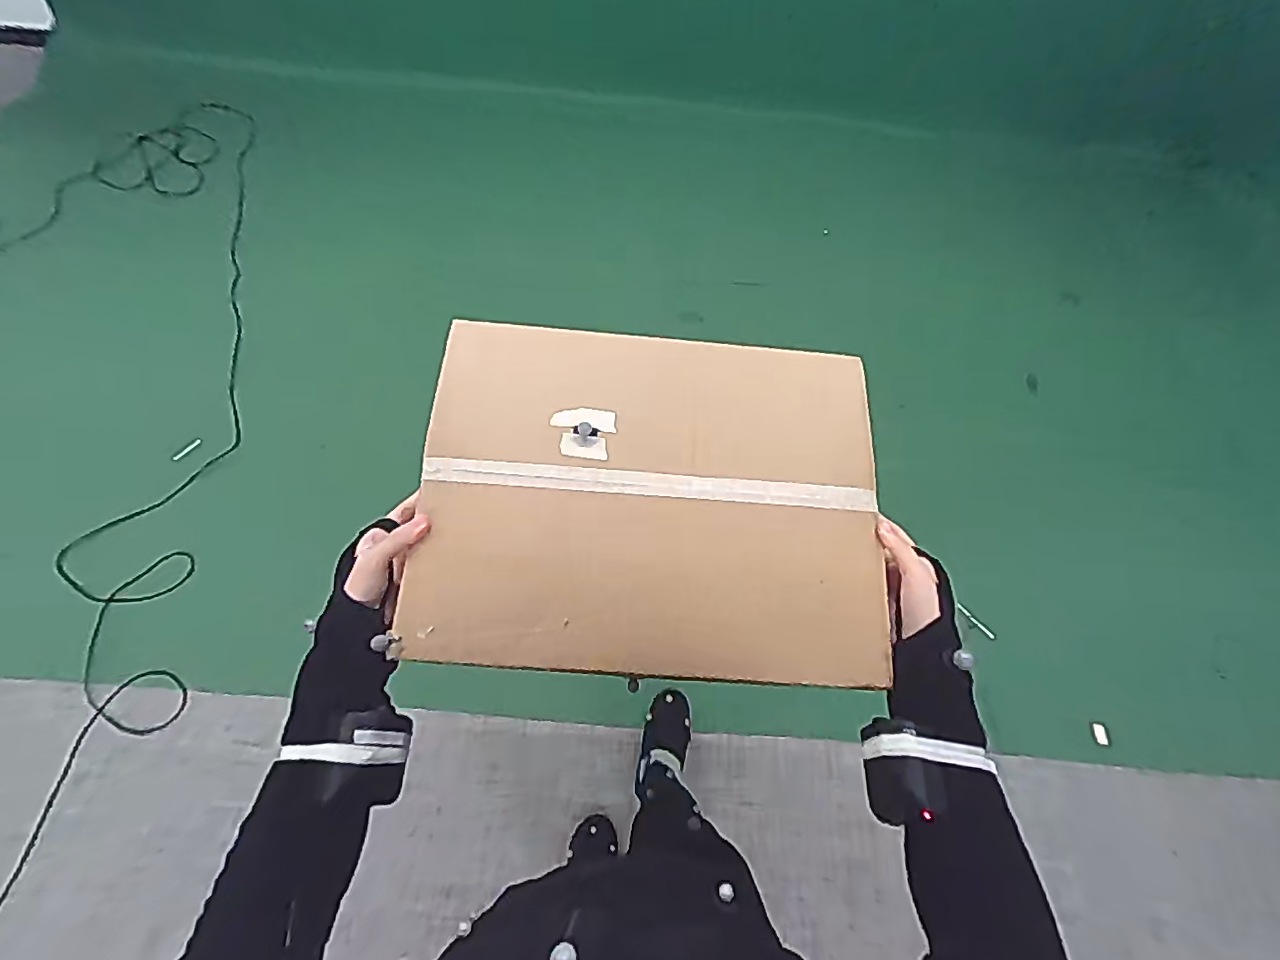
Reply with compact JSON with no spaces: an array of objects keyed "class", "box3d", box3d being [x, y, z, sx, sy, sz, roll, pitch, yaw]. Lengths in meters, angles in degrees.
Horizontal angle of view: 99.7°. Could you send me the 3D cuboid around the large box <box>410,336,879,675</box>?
[{"class":"large box","box3d":[0.007,0.058,0.641,0.408,0.320,0.320,4,69,-2]}]
